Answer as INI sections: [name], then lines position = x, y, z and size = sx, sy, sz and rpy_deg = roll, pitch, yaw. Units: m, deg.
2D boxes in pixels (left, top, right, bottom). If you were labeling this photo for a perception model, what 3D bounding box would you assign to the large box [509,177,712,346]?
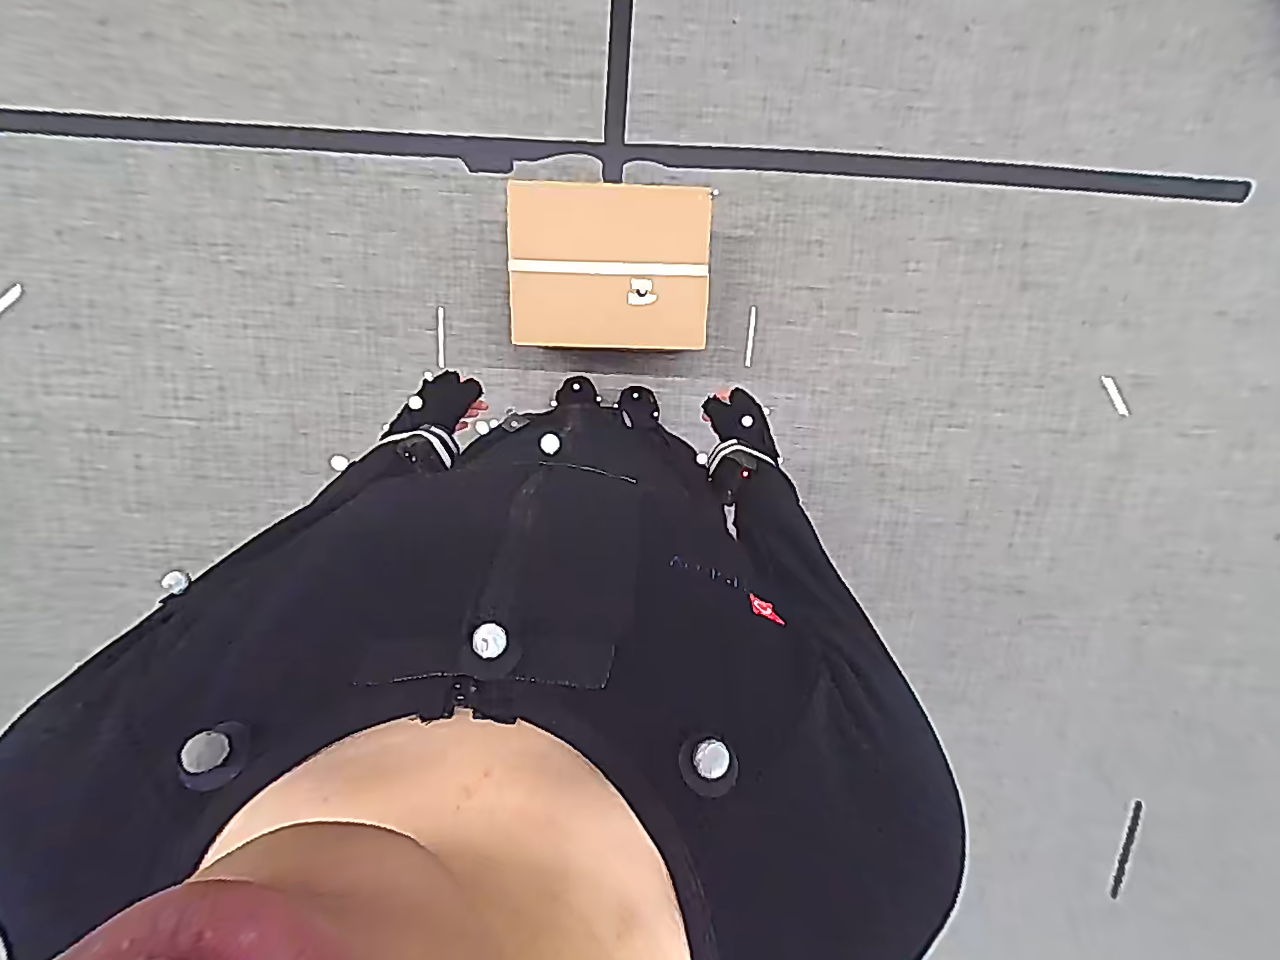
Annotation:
[large box]
position = -0.065, -0.468, 1.232
size = 0.408, 0.320, 0.320
rpy_deg = 1, 104, -3
